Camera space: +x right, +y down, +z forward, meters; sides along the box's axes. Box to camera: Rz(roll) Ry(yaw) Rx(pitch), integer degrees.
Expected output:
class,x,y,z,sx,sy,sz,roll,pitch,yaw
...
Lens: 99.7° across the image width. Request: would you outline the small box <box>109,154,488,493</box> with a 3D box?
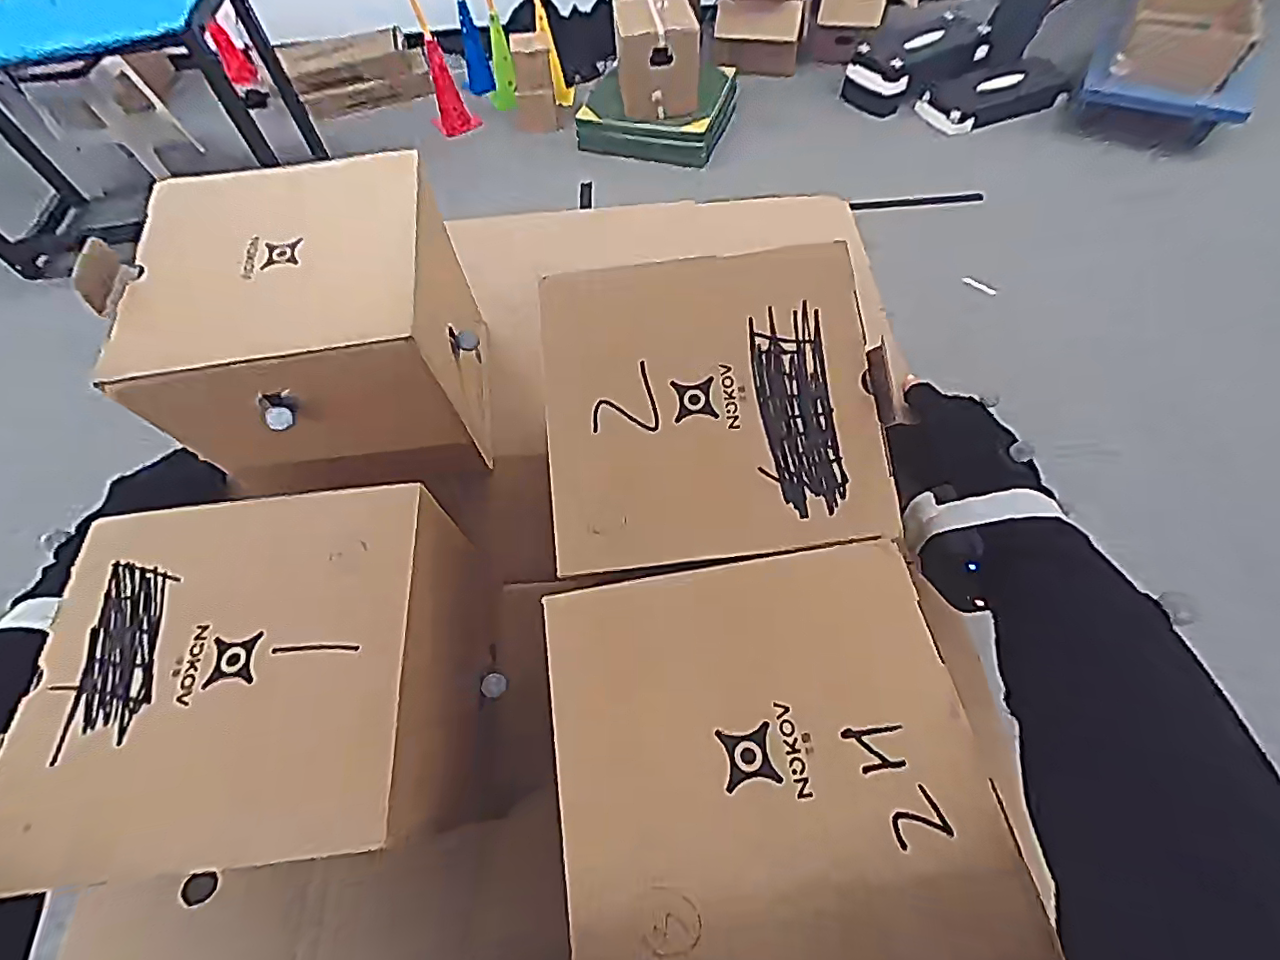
class,x,y,z,sx,sy,sz,roll,pitch,yaw
small box,-0.220,-0.105,0.410,0.179,0.176,0.168,-9,64,-2
